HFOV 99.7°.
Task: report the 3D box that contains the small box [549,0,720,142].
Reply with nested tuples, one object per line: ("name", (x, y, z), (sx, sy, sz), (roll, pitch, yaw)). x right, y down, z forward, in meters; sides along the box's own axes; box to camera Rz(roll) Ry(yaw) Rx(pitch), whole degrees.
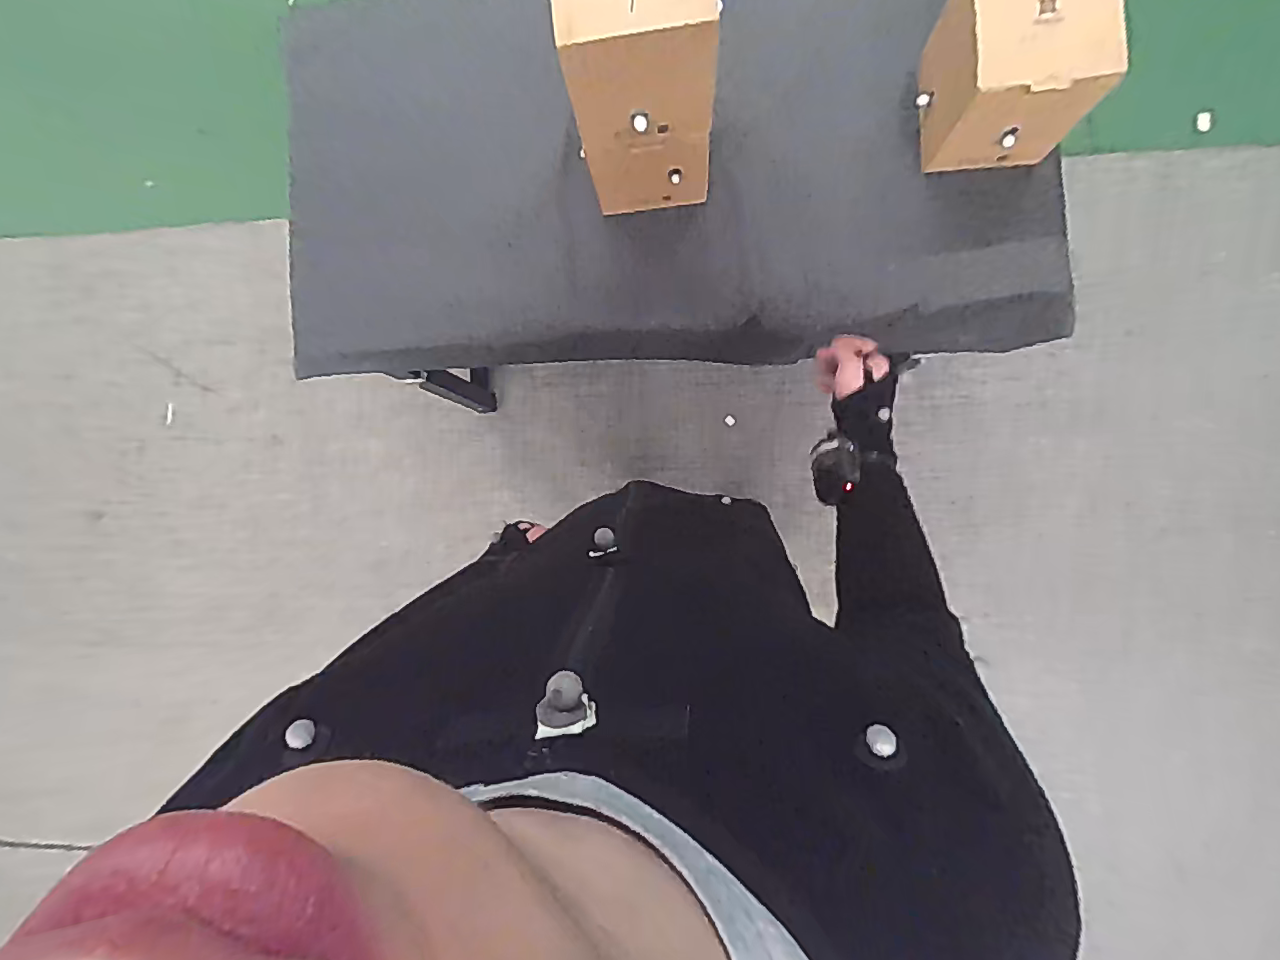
("small box", (-0.006, -0.517, 0.597), (0.168, 0.176, 0.179), (-5, 88, 4))

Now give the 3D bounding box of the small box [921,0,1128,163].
("small box", (0.489, -0.545, 0.713), (0.168, 0.176, 0.179), (-1, 88, 6))

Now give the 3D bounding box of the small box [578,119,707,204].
("small box", (0.006, -0.513, 0.761), (0.168, 0.176, 0.179), (-5, 86, 4))
